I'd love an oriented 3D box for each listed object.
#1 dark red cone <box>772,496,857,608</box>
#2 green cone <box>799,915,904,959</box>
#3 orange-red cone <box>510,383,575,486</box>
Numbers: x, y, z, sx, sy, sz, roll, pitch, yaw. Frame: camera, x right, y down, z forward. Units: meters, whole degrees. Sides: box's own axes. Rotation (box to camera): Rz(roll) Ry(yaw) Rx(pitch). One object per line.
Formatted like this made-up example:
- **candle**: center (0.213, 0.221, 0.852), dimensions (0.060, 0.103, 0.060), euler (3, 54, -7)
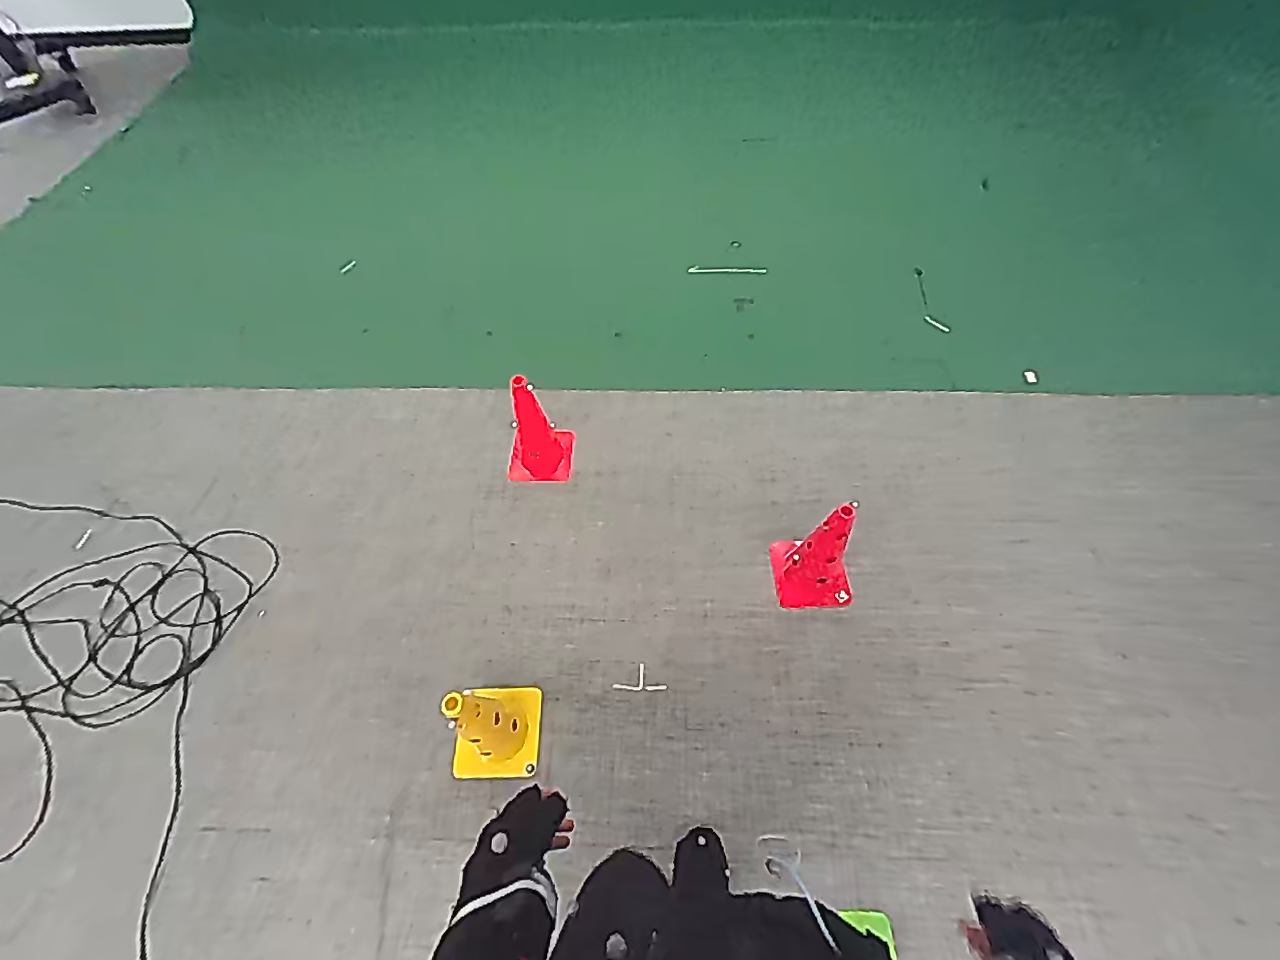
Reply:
- **dark red cone**: center (0.468, 0.160, 1.349), dimensions (0.202, 0.394, 0.201), euler (-4, 56, 0)
- **green cone**: center (0.413, 0.885, 0.914), dimensions (0.202, 0.368, 0.200), euler (-2, 57, 3)
- **orange-red cone**: center (-0.325, -0.155, 1.613), dimensions (0.198, 0.360, 0.199), euler (0, 58, 4)
